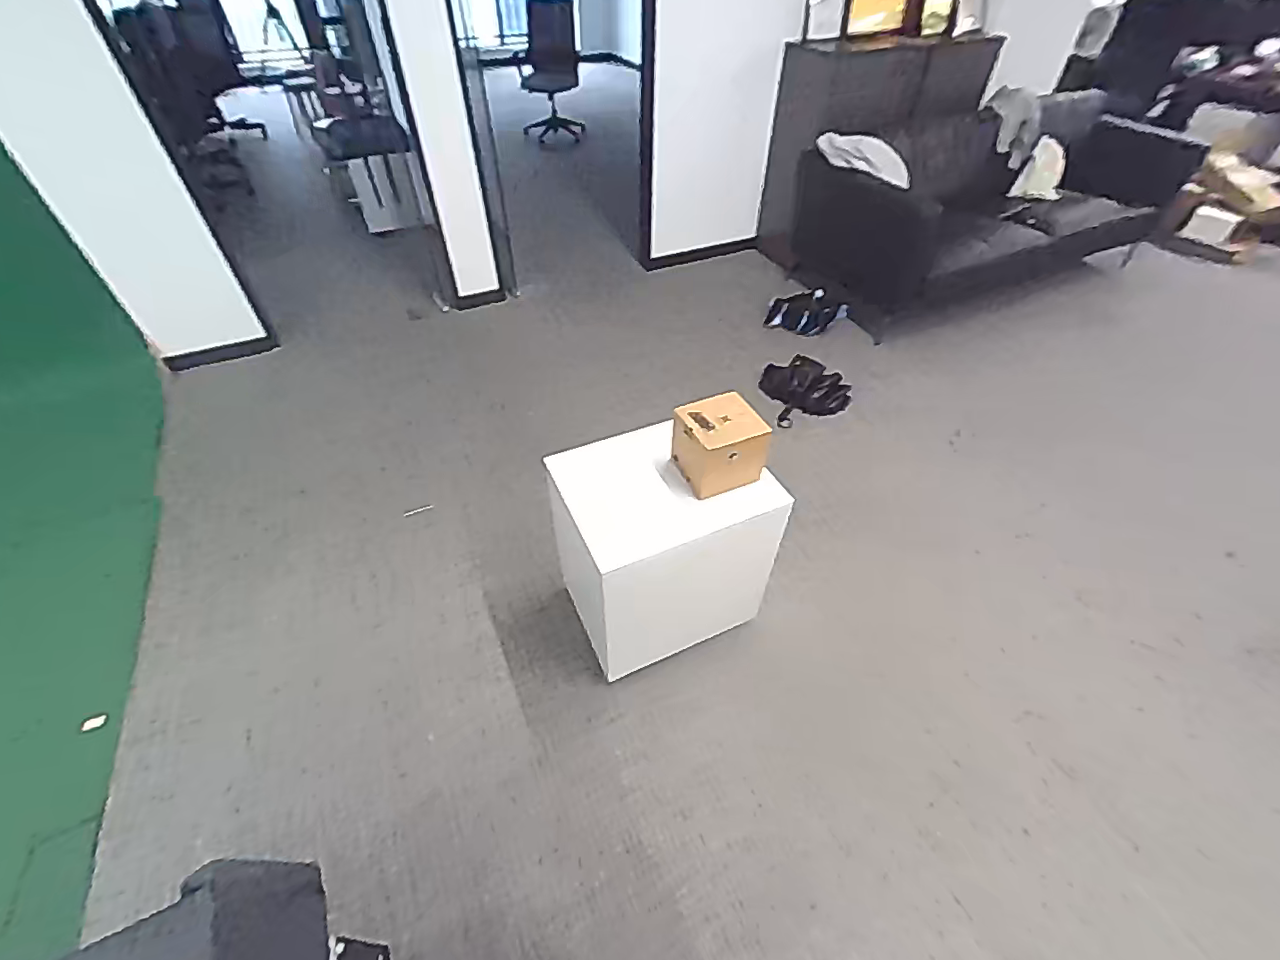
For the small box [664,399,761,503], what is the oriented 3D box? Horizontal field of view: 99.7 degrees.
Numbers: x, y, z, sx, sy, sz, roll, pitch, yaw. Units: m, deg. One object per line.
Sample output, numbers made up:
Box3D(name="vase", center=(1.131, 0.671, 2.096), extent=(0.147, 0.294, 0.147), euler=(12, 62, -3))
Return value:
Box3D(name="small box", center=(0.167, -0.068, 1.322), extent=(0.179, 0.176, 0.168), euler=(-17, 49, -21))
